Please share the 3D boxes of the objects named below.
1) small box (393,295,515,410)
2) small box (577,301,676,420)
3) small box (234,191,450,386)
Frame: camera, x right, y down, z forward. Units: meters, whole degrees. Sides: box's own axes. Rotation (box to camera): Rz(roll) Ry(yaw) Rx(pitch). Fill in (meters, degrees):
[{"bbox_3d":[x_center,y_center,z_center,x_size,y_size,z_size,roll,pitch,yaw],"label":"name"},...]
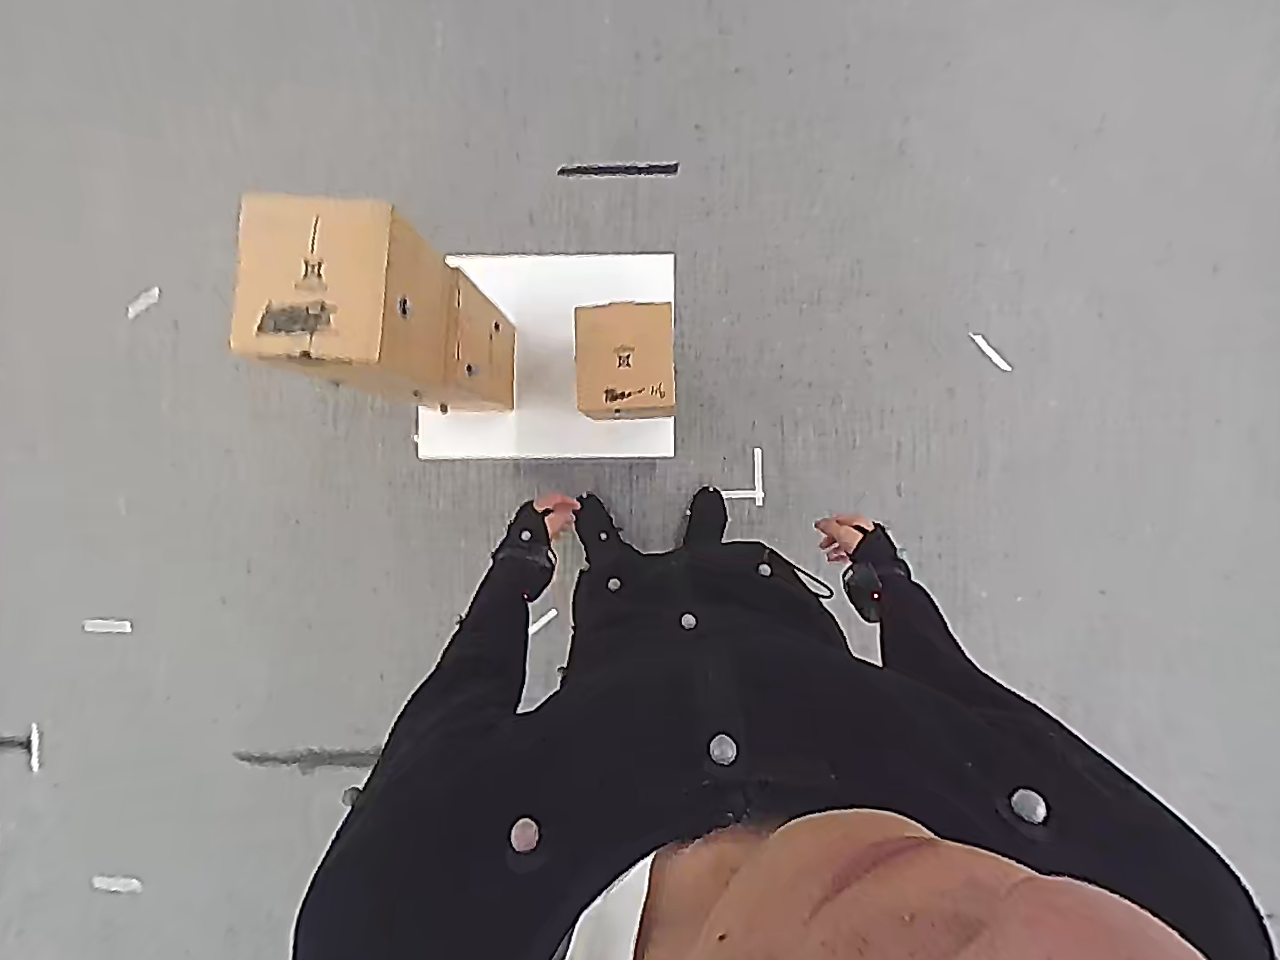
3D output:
[{"bbox_3d":[-0.329,-0.223,0.982,0.168,0.176,0.179,1,90,1],"label":"small box"},{"bbox_3d":[-0.021,-0.207,0.973,0.168,0.176,0.179,-2,90,3],"label":"small box"},{"bbox_3d":[-0.344,-0.216,0.654,0.168,0.176,0.179,4,89,1],"label":"small box"}]
